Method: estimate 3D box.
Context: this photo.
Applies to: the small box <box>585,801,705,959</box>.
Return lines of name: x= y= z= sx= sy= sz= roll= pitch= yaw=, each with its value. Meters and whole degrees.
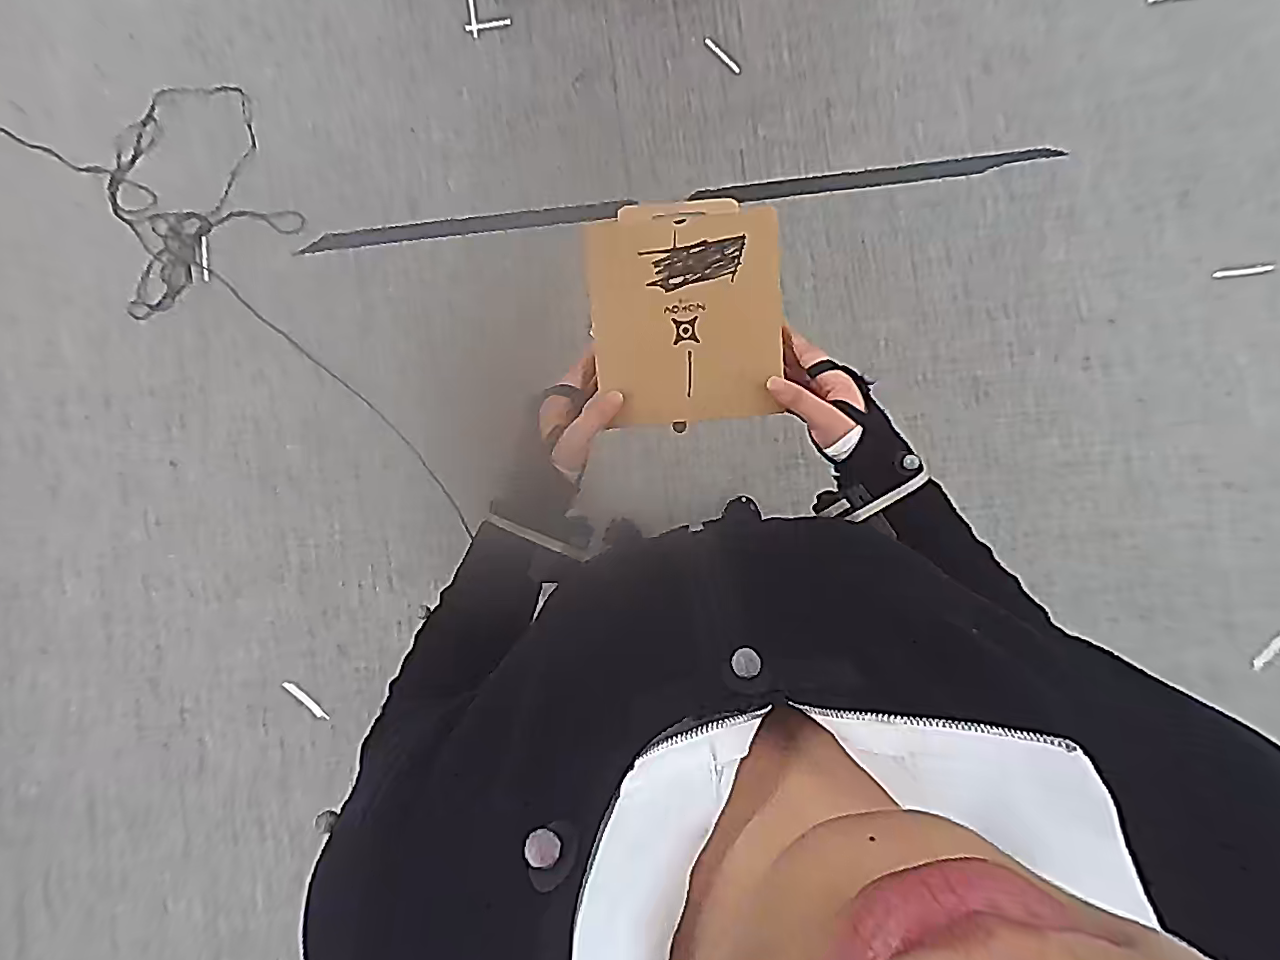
small box: x=0.013 y=0.685 z=0.932 sx=0.179 sy=0.176 sz=0.168 roll=-8 pitch=86 yaw=3

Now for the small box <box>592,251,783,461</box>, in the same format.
small box: x=0.043 y=-0.120 z=0.561 sx=0.168 sy=0.176 sz=0.179 roll=-5 pitch=99 yaw=1
